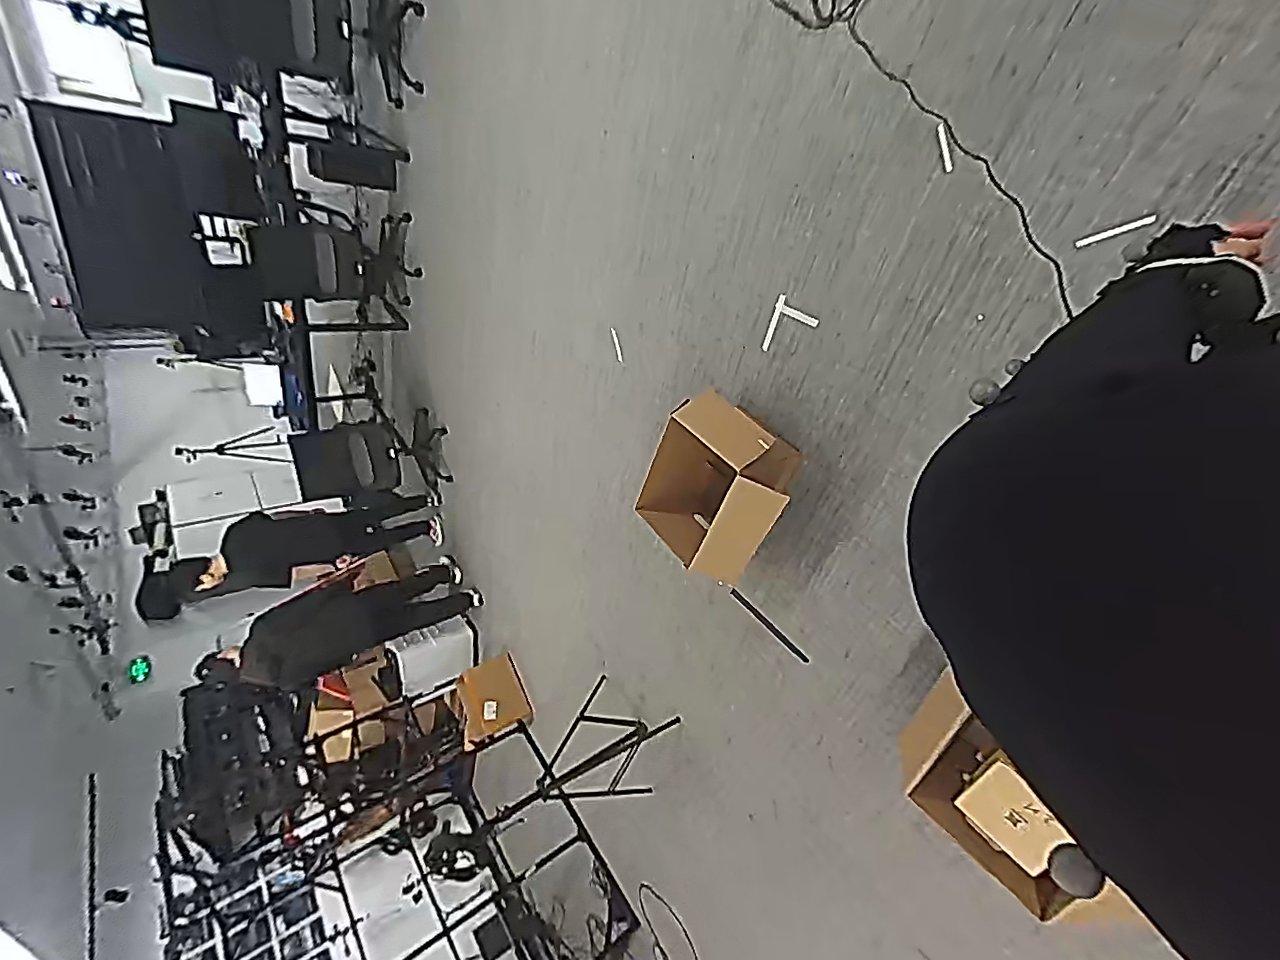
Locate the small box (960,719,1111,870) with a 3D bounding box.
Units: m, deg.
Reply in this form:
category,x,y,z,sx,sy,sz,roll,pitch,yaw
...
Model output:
category,x,y,z,sx,sy,sz,roll,pitch,yaw
small box,0.802,0.630,1.096,0.168,0.176,0.179,41,131,36
